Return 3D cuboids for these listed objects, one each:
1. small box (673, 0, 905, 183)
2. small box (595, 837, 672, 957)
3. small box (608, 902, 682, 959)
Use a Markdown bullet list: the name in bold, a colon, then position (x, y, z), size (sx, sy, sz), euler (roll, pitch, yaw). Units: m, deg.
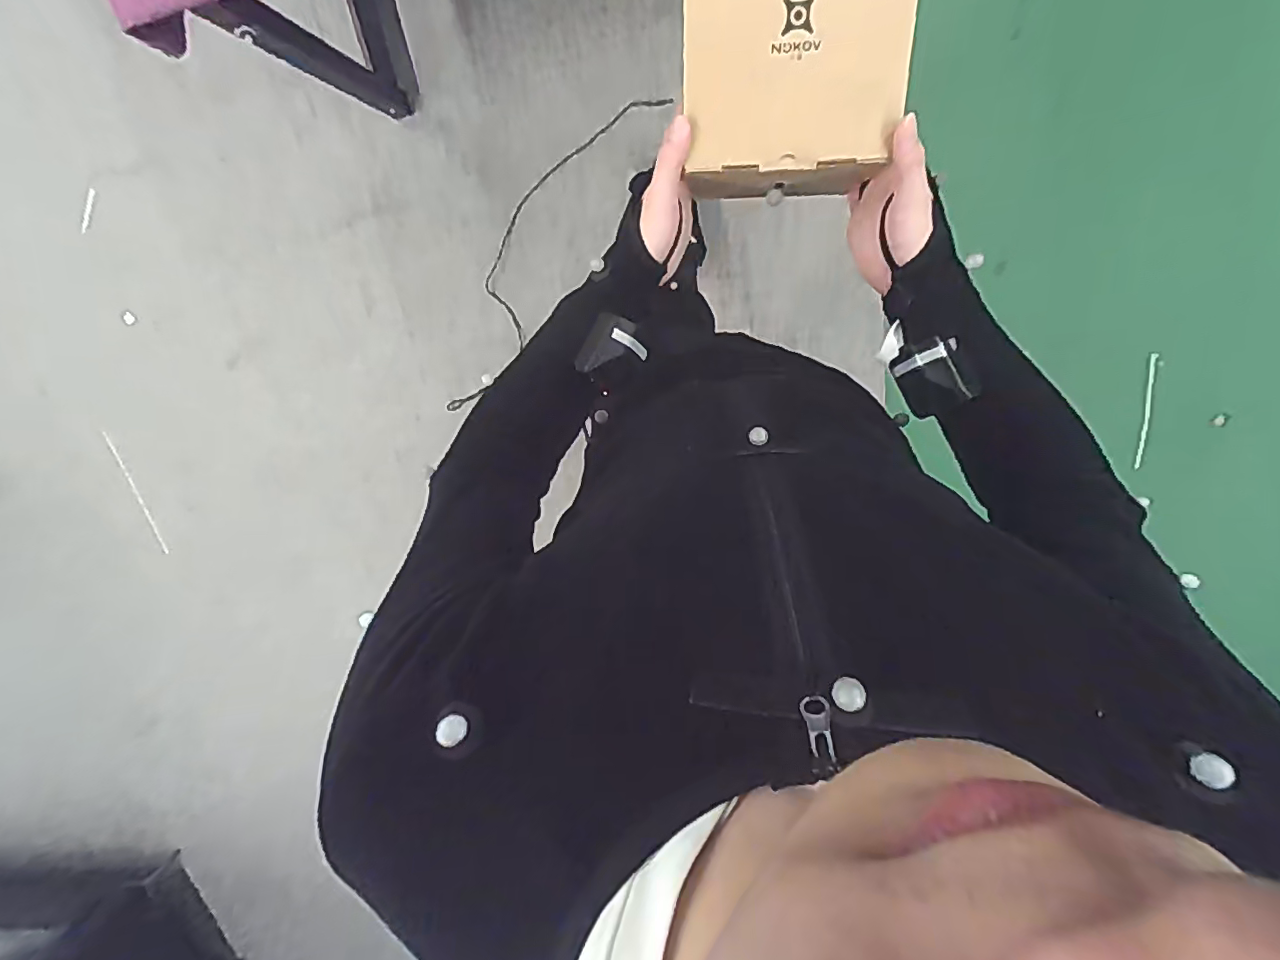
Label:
- **small box**: position (0.118, -0.361, 0.464), size (0.168, 0.176, 0.179), euler (2, 112, 8)
- **small box**: position (-0.010, 1.024, 1.339), size (0.168, 0.176, 0.179), euler (-1, 111, 9)
- **small box**: position (0.019, 1.244, 1.420), size (0.168, 0.176, 0.179), euler (-4, 107, 10)
